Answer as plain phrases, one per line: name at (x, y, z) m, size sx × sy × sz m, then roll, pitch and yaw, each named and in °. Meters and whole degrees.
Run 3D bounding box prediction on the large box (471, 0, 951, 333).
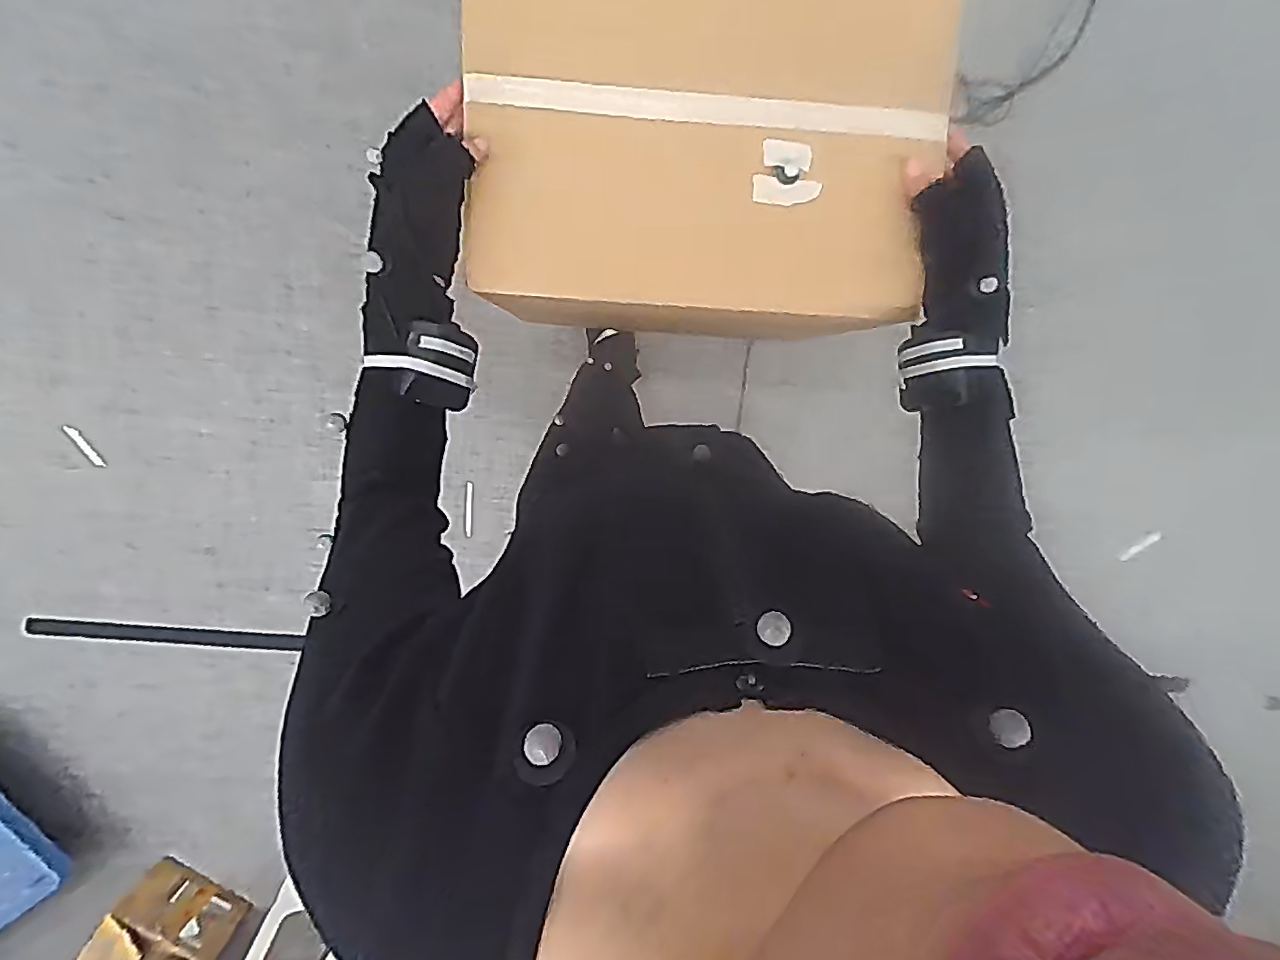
large box at (0.048, -0.342, 0.603) m, size 0.408 × 0.320 × 0.320 m, roll 2°, pitch 101°, yaw -4°
